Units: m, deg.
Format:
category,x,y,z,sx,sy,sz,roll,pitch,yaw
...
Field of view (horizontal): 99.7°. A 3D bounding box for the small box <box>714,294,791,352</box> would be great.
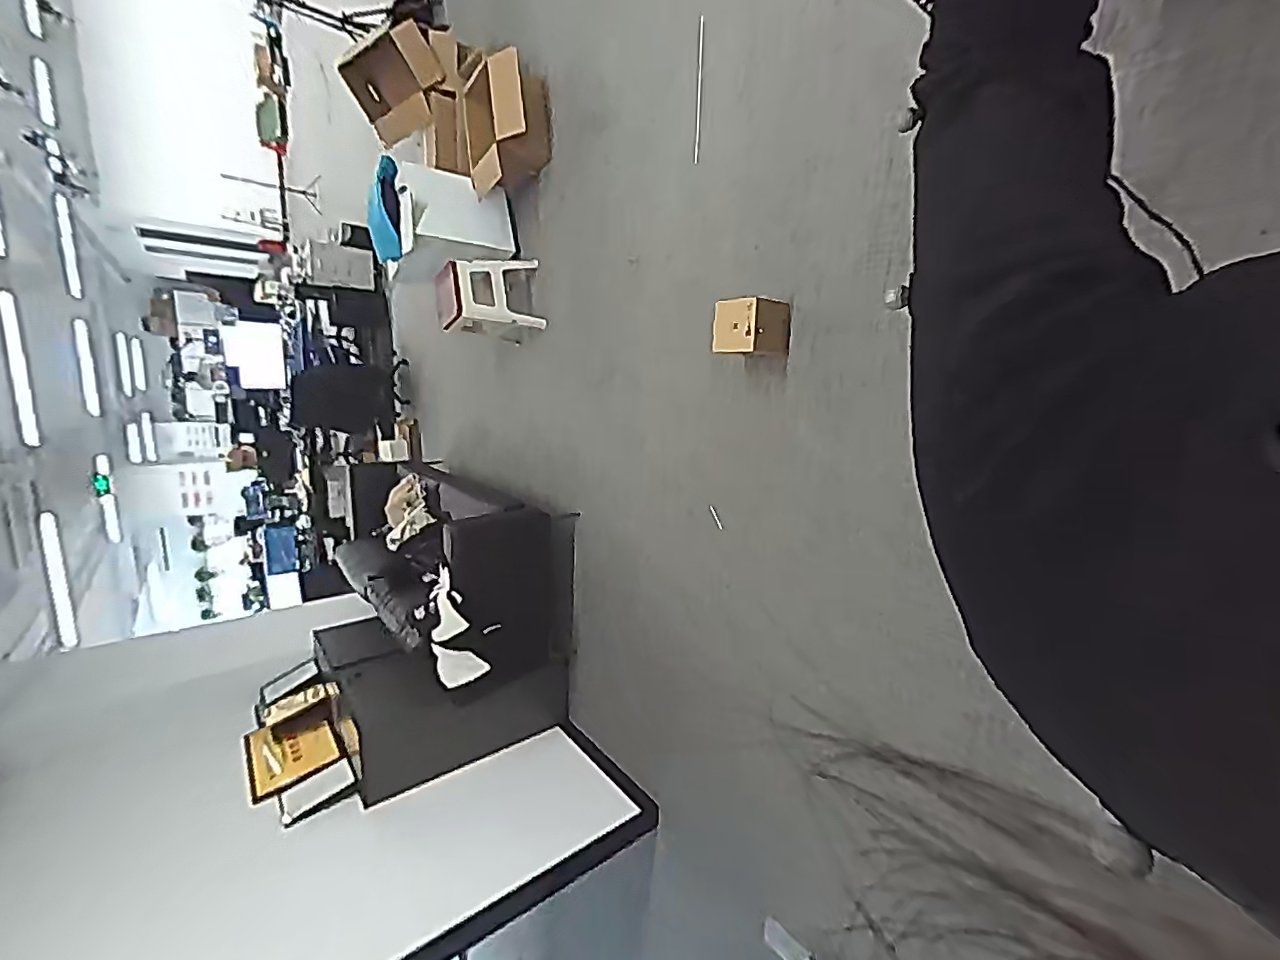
category,x,y,z,sx,sy,sz,roll,pitch,yaw
small box,0.368,-0.510,1.781,0.179,0.176,0.168,16,107,50
